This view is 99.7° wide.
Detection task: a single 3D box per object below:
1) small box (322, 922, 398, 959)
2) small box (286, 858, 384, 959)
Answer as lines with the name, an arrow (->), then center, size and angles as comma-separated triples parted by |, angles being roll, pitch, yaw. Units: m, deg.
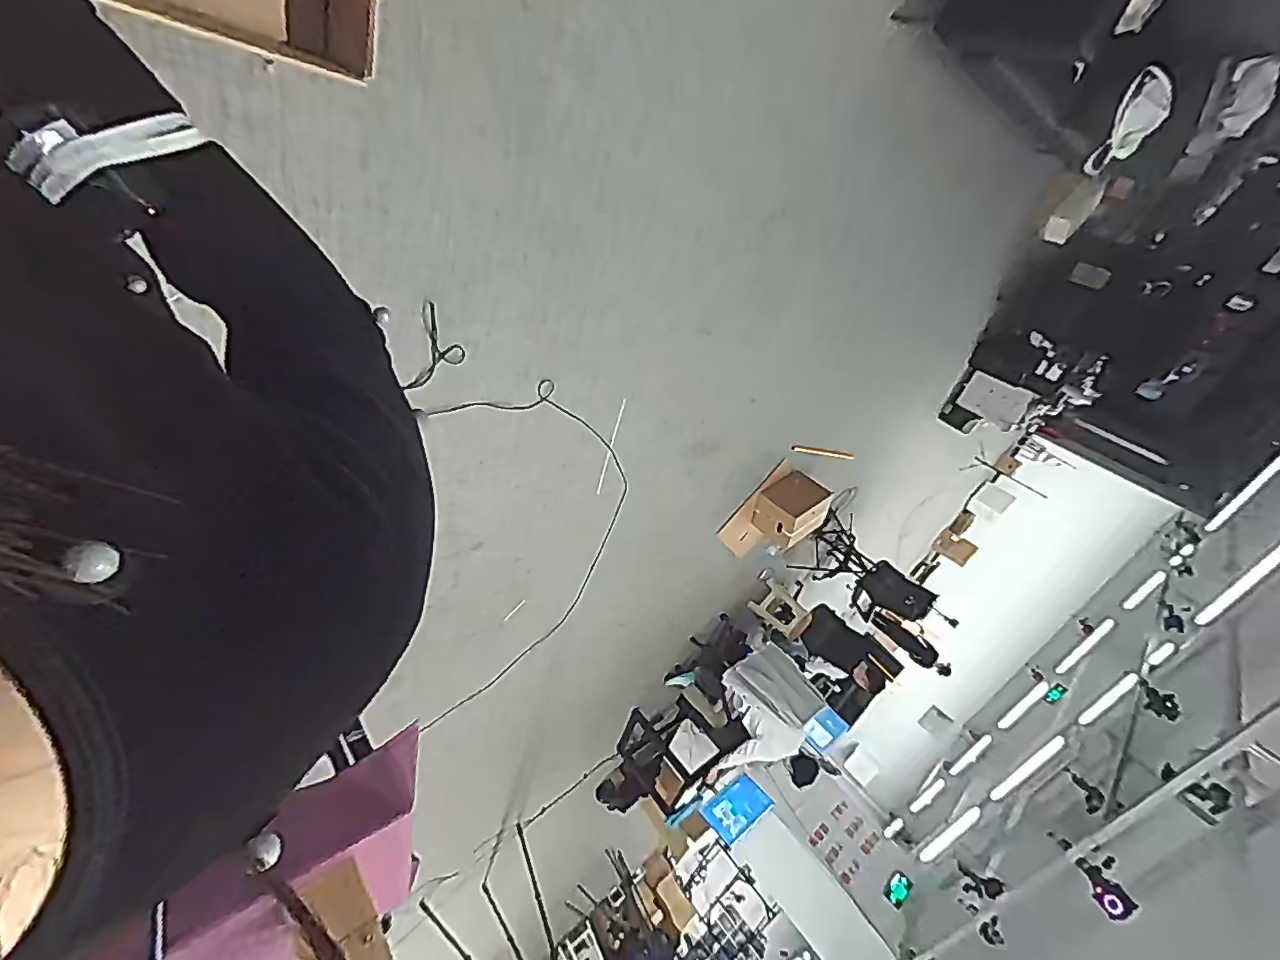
small box -> -0.675, 1.216, 1.295 | 0.168, 0.176, 0.179 | -15, 136, -40
small box -> -0.778, 1.123, 1.383 | 0.179, 0.176, 0.168 | -15, 135, -40
